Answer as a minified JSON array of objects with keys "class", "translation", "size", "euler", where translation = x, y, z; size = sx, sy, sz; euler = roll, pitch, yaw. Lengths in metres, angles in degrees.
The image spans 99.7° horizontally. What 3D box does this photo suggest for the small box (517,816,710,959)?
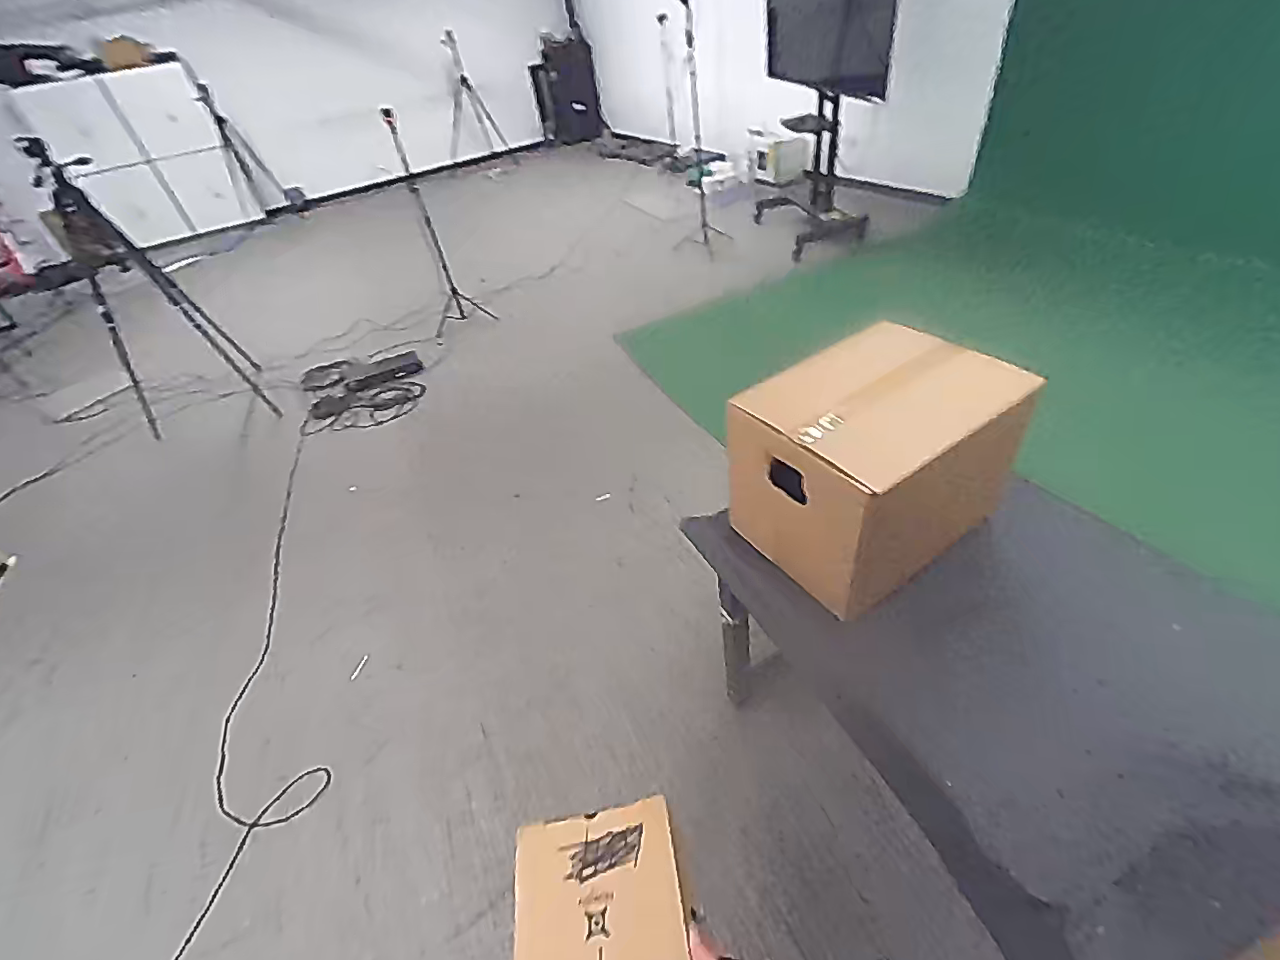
[{"class":"small box","translation":[-0.020,0.478,0.553],"size":[0.168,0.176,0.179],"euler":[-13,44,2]}]
